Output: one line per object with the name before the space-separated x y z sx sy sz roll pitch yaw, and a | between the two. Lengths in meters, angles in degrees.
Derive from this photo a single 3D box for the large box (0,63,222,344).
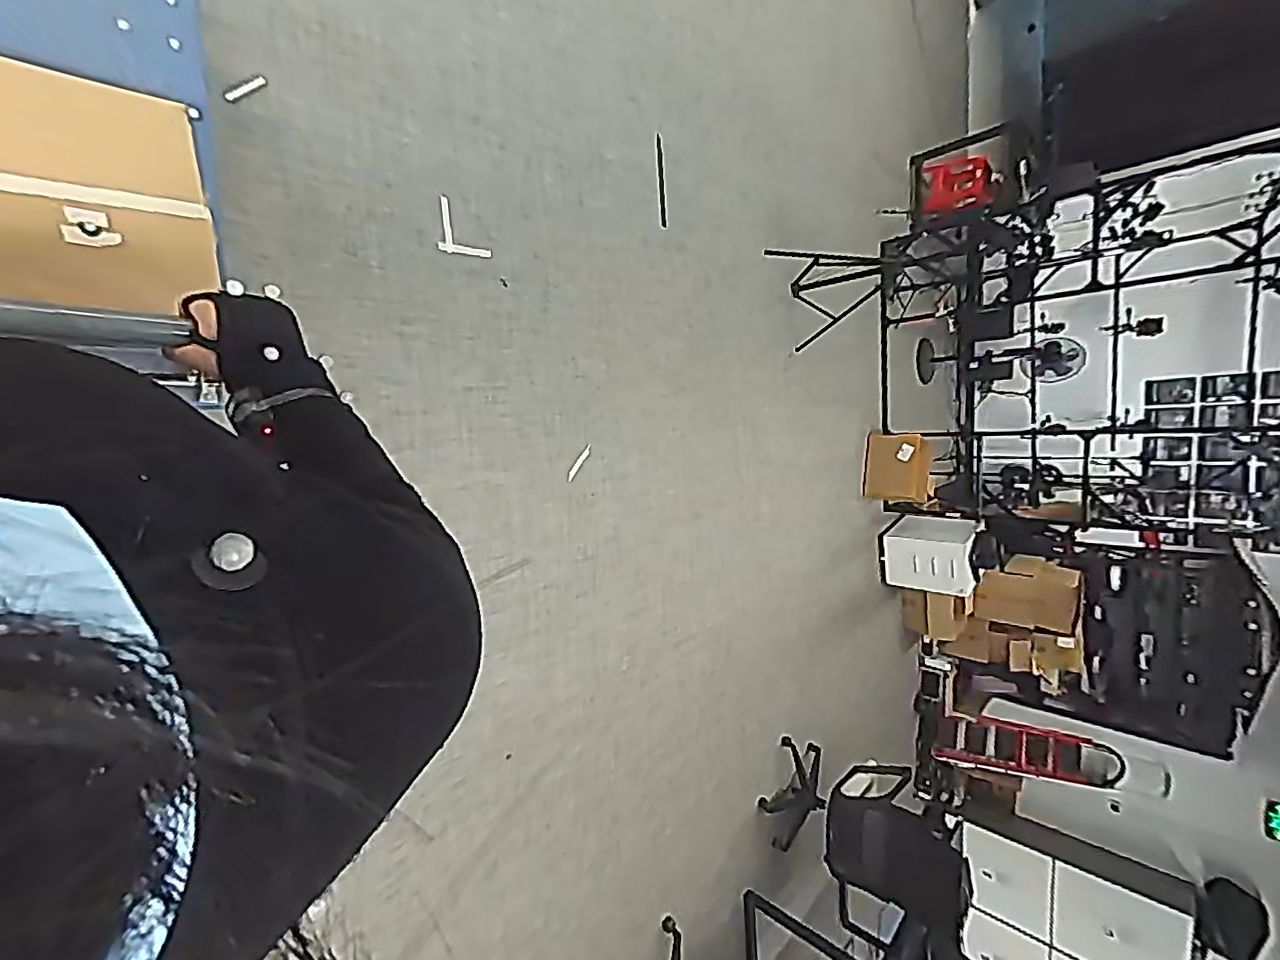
large box | -0.918 -0.378 0.792 0.408 0.320 0.320 -13 102 -46
